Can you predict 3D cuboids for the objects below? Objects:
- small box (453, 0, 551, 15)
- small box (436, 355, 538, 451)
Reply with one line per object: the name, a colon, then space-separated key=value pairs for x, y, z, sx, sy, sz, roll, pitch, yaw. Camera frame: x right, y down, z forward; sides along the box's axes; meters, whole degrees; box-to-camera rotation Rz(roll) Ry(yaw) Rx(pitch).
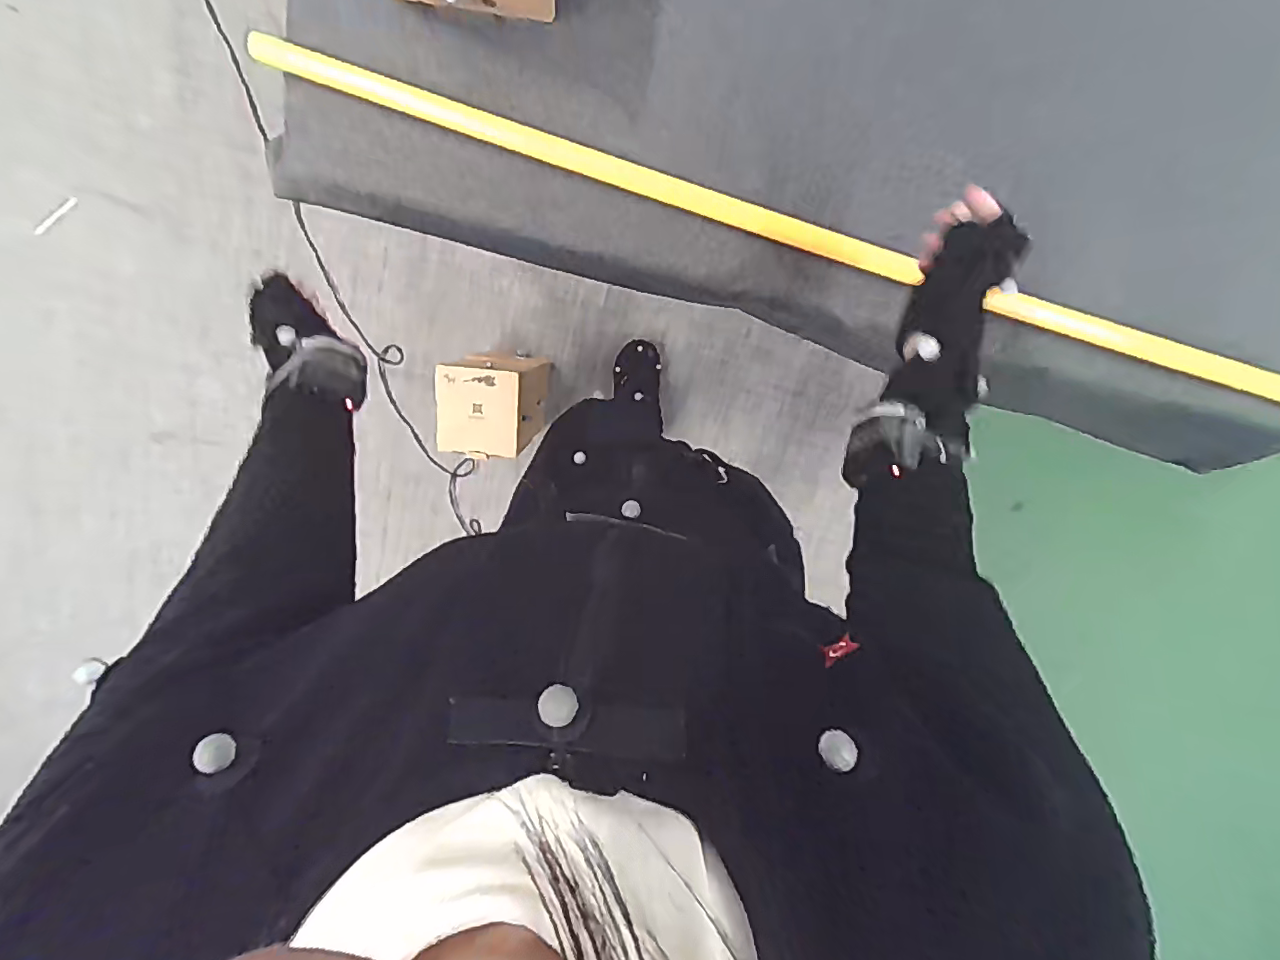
small box: x=-0.159 y=-0.541 z=0.445 sx=0.168 sy=0.176 sz=0.179 roll=8 pitch=107 yaw=0
small box: x=-0.317 y=-0.169 z=1.154 sx=0.168 sy=0.176 sz=0.179 roll=3 pitch=106 yaw=2
